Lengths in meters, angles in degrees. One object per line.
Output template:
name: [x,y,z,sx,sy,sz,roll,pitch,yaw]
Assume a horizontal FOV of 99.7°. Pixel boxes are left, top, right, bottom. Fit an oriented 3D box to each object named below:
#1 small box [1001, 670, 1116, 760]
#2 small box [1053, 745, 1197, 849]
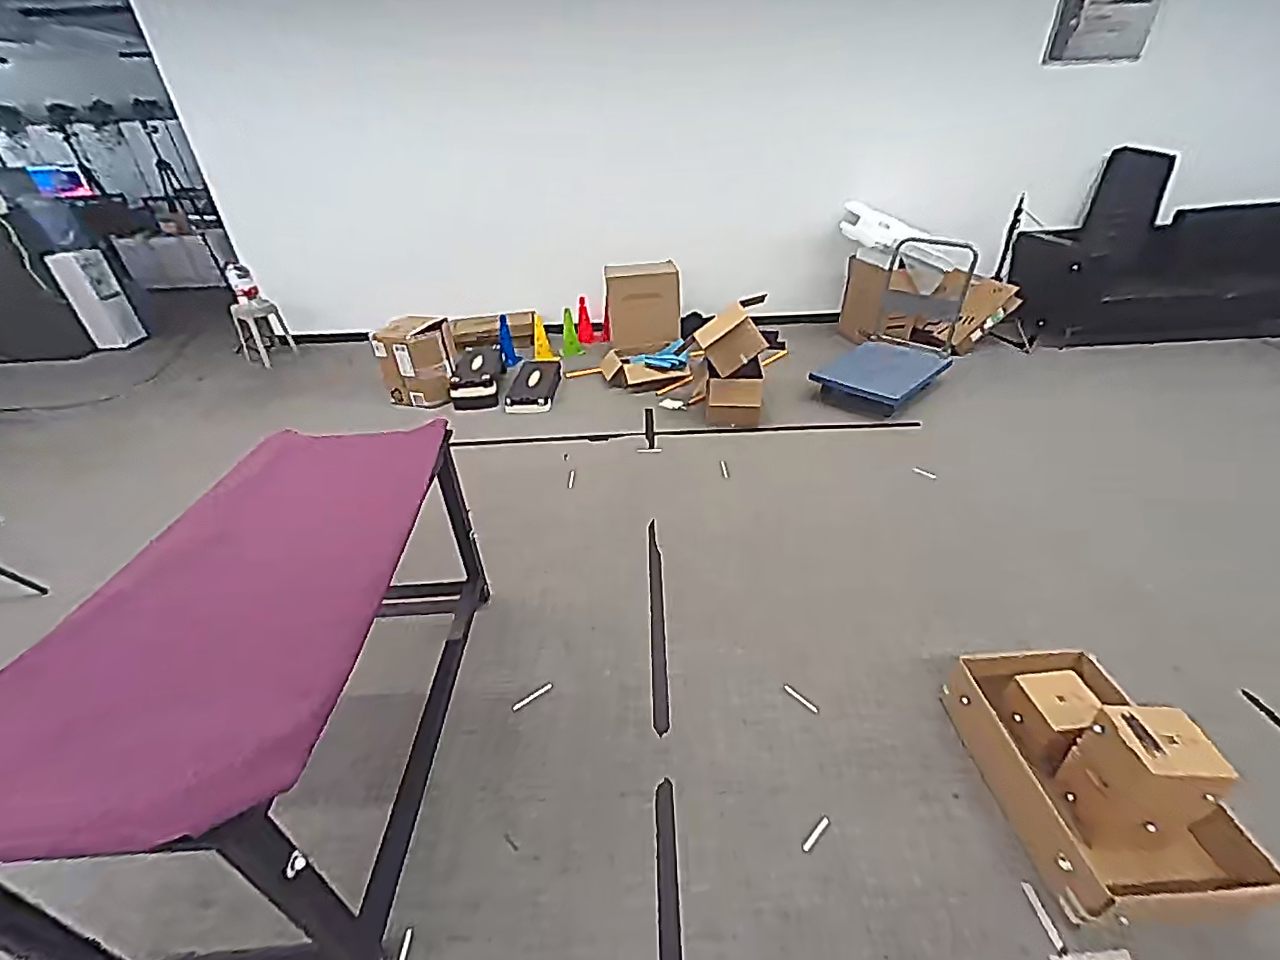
small box: [1.146,0.655,1.504,0.179,0.176,0.168,-4,35,-2]
small box: [1.174,0.778,1.327,0.179,0.176,0.168,-1,32,4]
